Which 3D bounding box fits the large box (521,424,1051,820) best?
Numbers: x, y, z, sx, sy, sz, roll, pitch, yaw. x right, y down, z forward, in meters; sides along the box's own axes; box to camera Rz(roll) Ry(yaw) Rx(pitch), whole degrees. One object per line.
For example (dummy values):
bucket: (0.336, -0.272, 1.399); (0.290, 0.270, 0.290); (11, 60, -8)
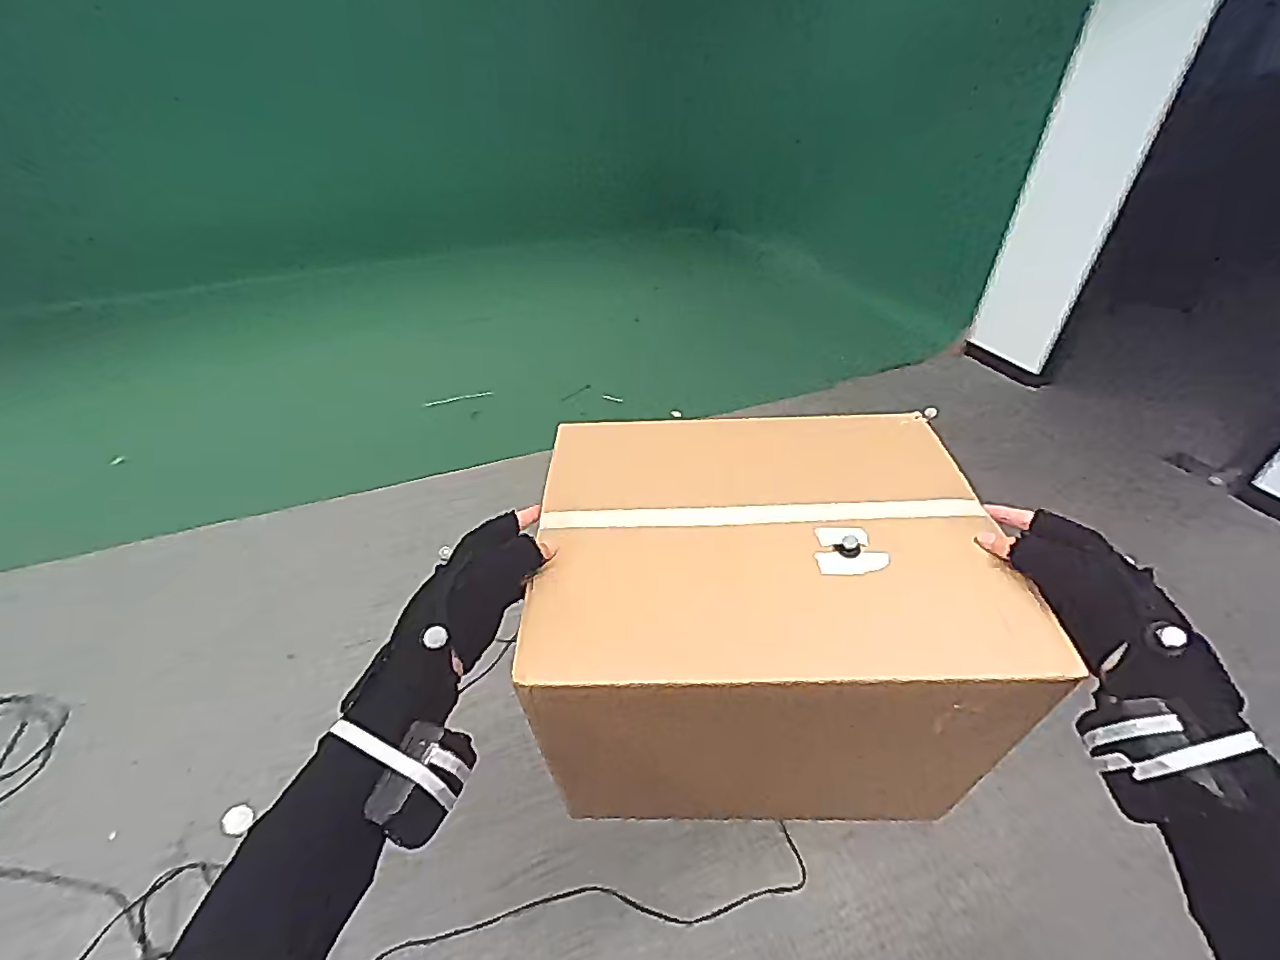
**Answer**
large box: (0.109, 0.155, 0.607); (0.408, 0.320, 0.320); (-2, 42, 1)
